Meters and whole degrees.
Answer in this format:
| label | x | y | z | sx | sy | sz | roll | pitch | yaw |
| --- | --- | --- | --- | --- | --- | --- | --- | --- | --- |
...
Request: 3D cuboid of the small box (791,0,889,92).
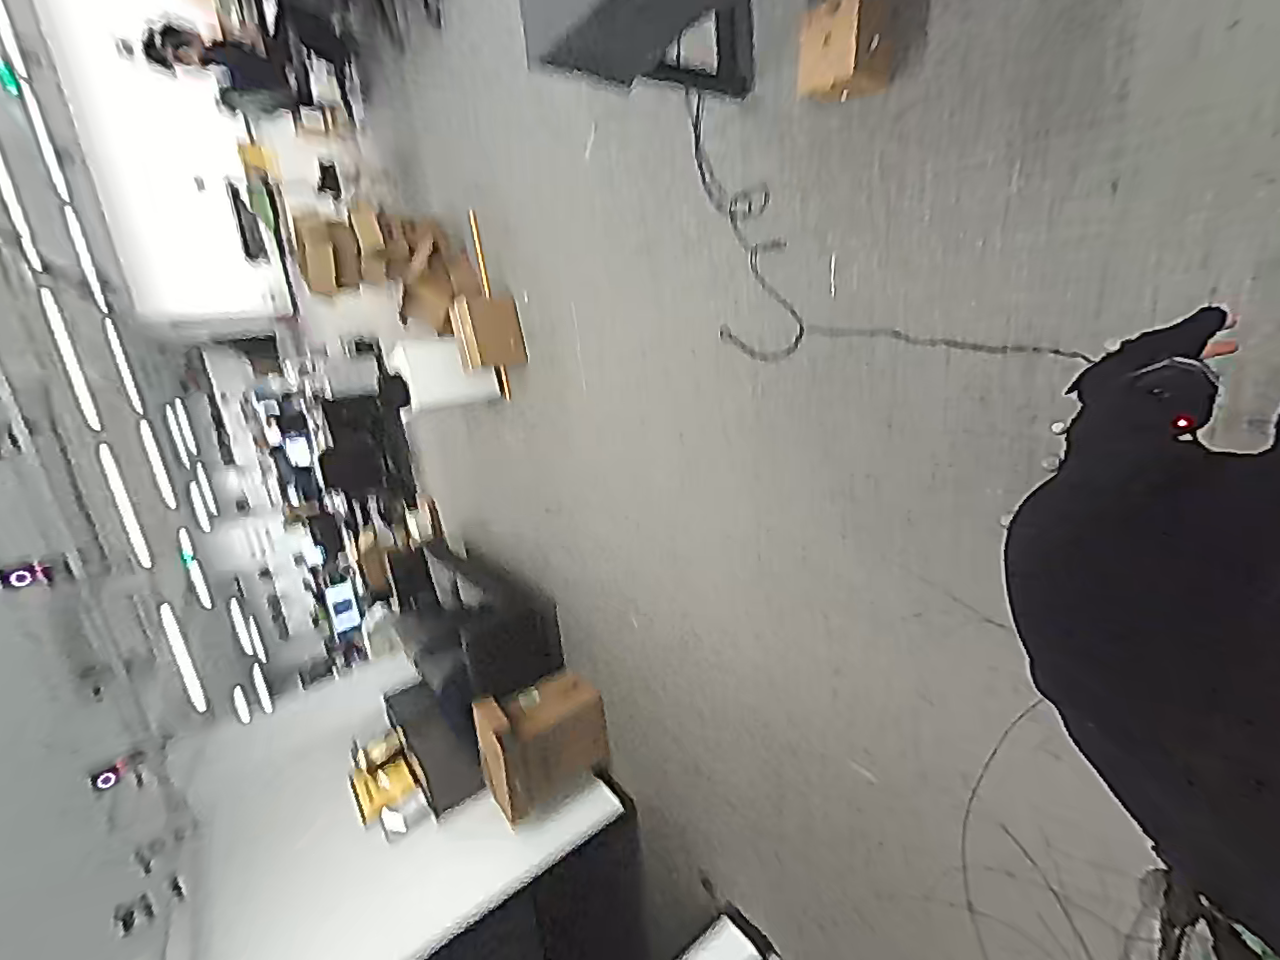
| label | x | y | z | sx | sy | sz | roll | pitch | yaw |
| --- | --- | --- | --- | --- | --- | --- | --- | --- | --- |
| small box | 0.499 | -1.097 | 1.349 | 0.168 | 0.176 | 0.179 | 20 | 121 | 49 |
